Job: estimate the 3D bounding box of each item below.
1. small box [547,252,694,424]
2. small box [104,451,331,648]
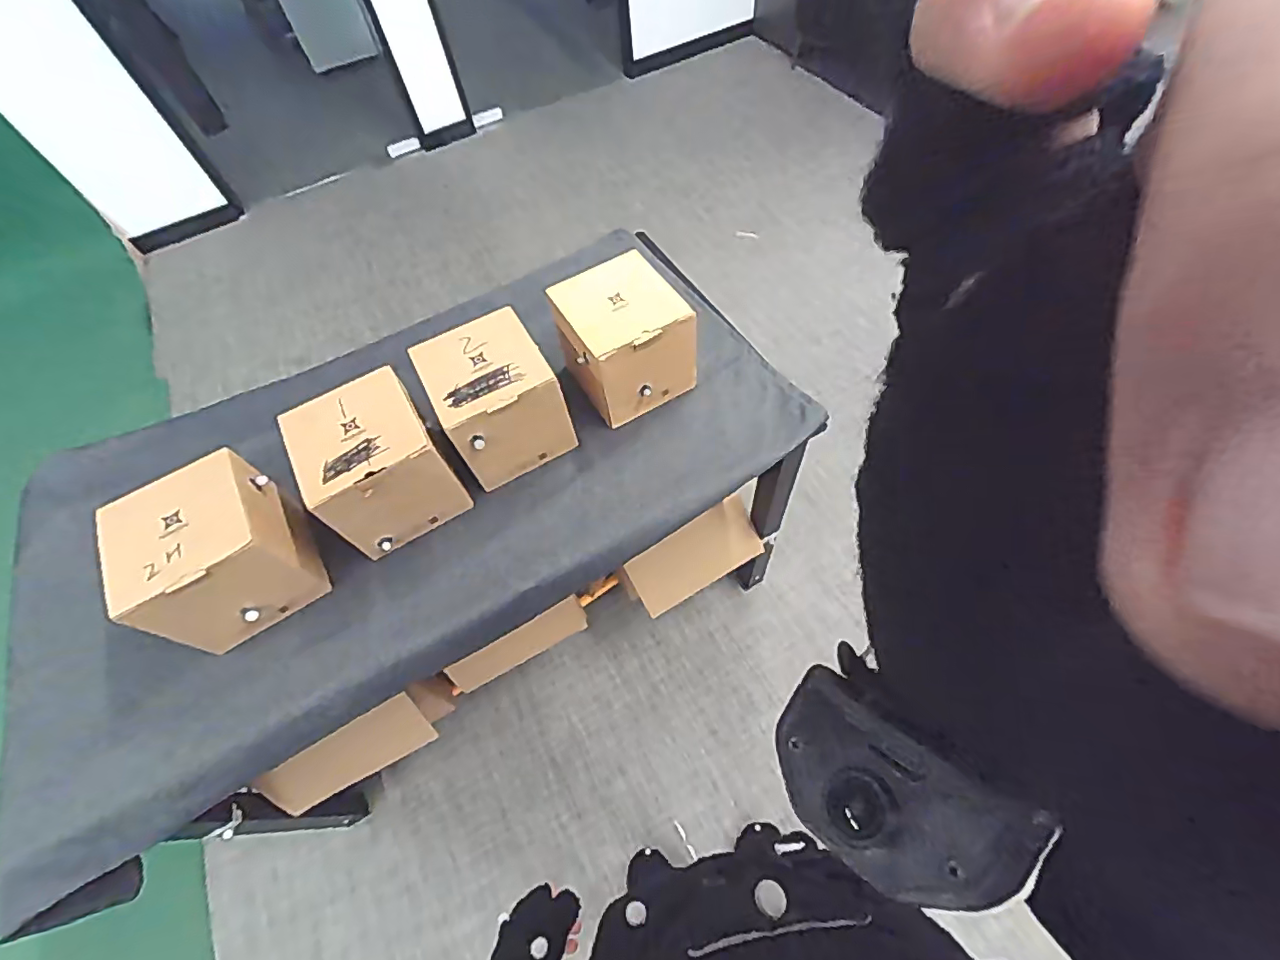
[{"bbox_3d":[-0.028,-0.225,0.877,0.168,0.176,0.179,-29,62,-11],"label":"small box"},{"bbox_3d":[-0.563,0.100,0.736,0.168,0.176,0.179,-32,62,-13],"label":"small box"}]
